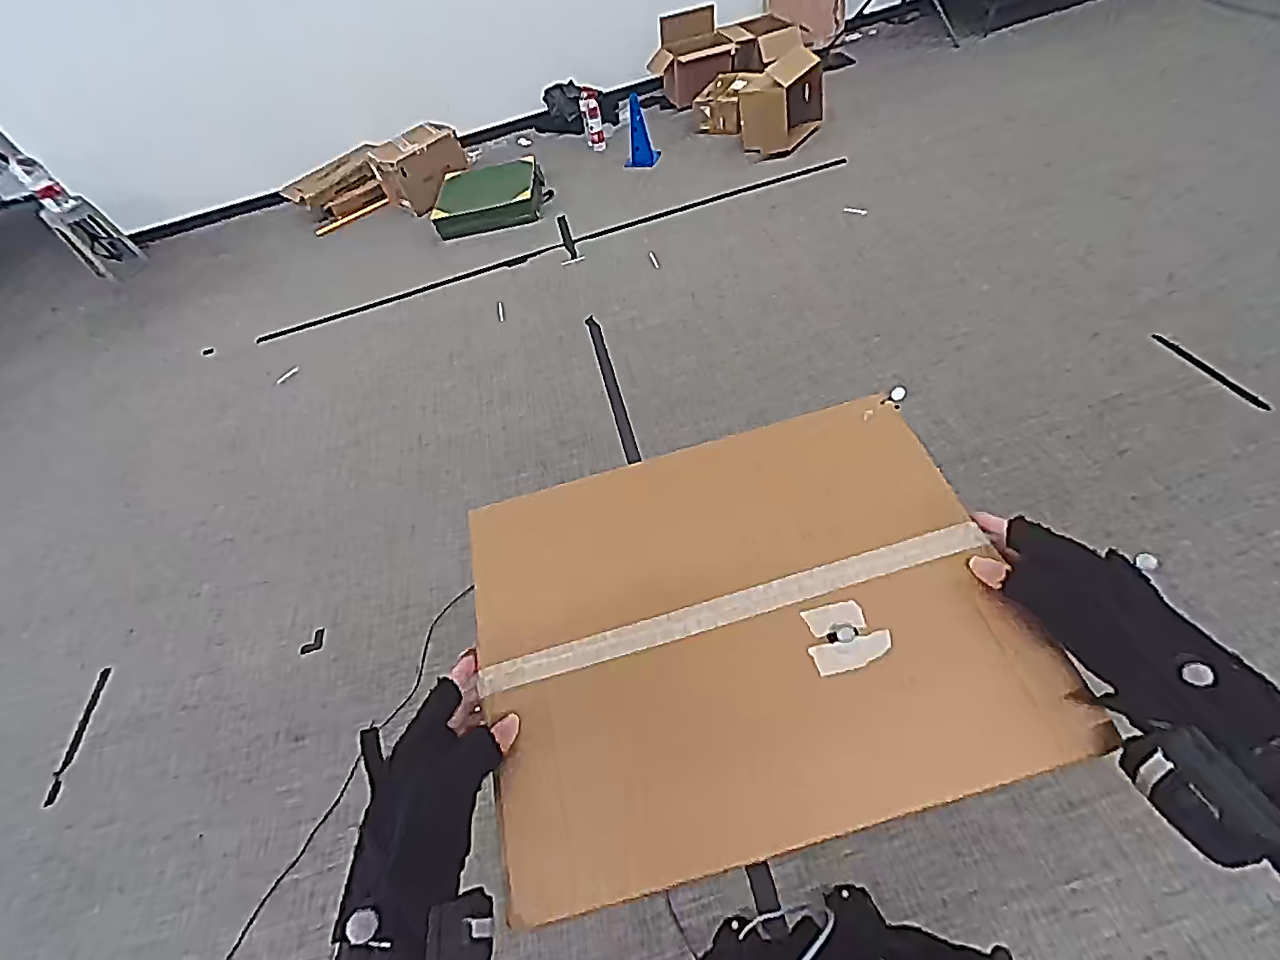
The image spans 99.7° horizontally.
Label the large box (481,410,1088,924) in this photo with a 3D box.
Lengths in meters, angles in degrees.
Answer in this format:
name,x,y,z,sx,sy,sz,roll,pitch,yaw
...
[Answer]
name,x,y,z,sx,sy,sz,roll,pitch,yaw
large box,0.095,0.189,0.561,0.408,0.320,0.320,-16,58,-1
